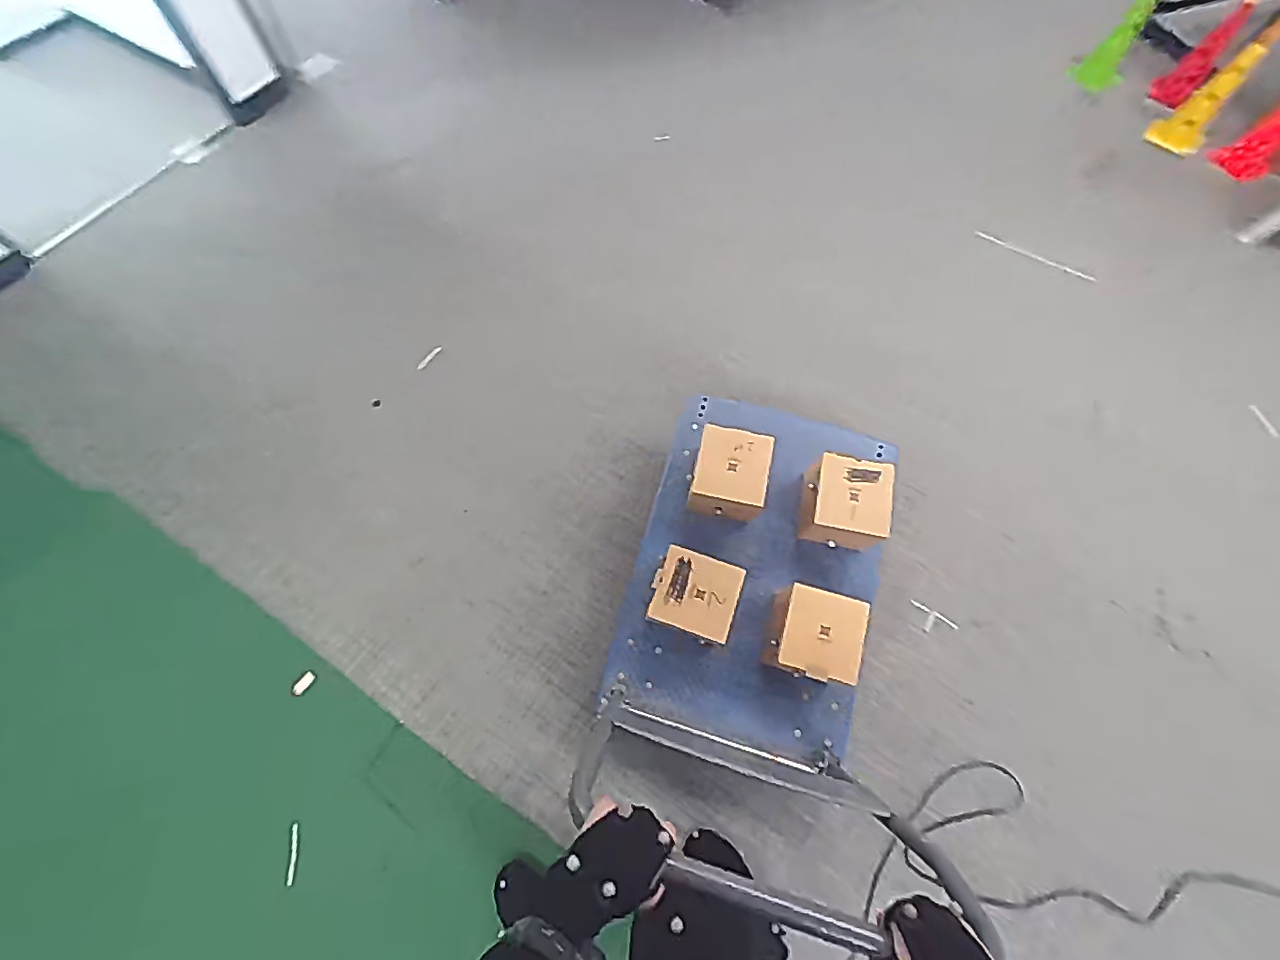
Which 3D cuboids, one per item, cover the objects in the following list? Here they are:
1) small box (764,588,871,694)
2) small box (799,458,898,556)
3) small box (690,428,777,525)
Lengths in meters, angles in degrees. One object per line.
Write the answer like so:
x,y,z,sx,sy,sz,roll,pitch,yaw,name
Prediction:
0.386,0.355,1.201,0.168,0.176,0.179,17,74,5,small box
0.490,0.070,1.288,0.168,0.176,0.179,12,74,5,small box
0.221,-0.001,1.312,0.168,0.176,0.179,13,73,4,small box
